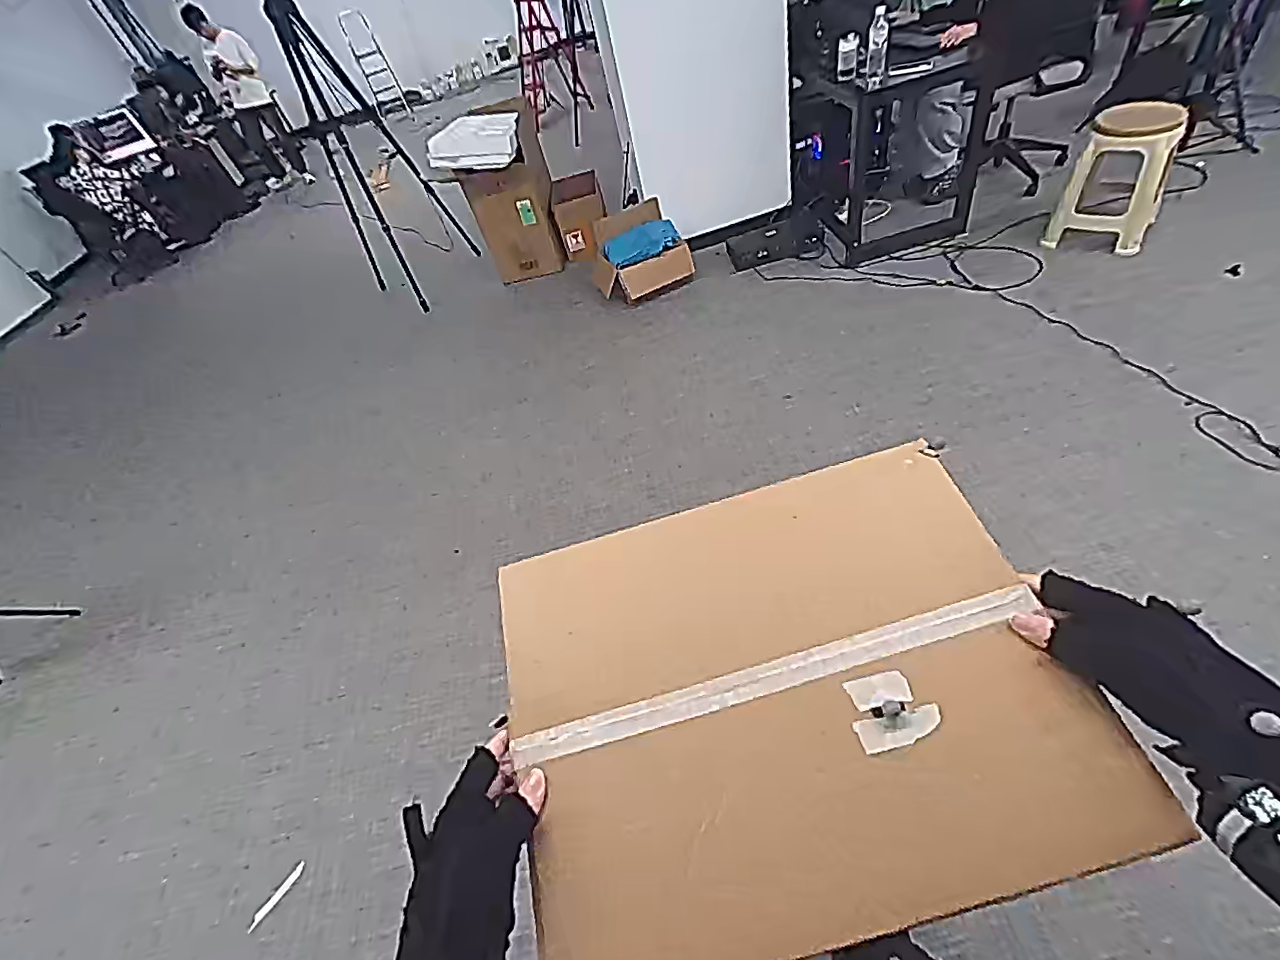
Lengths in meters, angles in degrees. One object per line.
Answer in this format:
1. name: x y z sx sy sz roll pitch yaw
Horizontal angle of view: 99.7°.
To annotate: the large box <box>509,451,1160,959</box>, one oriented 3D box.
1. large box: 0.127 0.232 0.544 0.408 0.320 0.320 -17 57 -1
